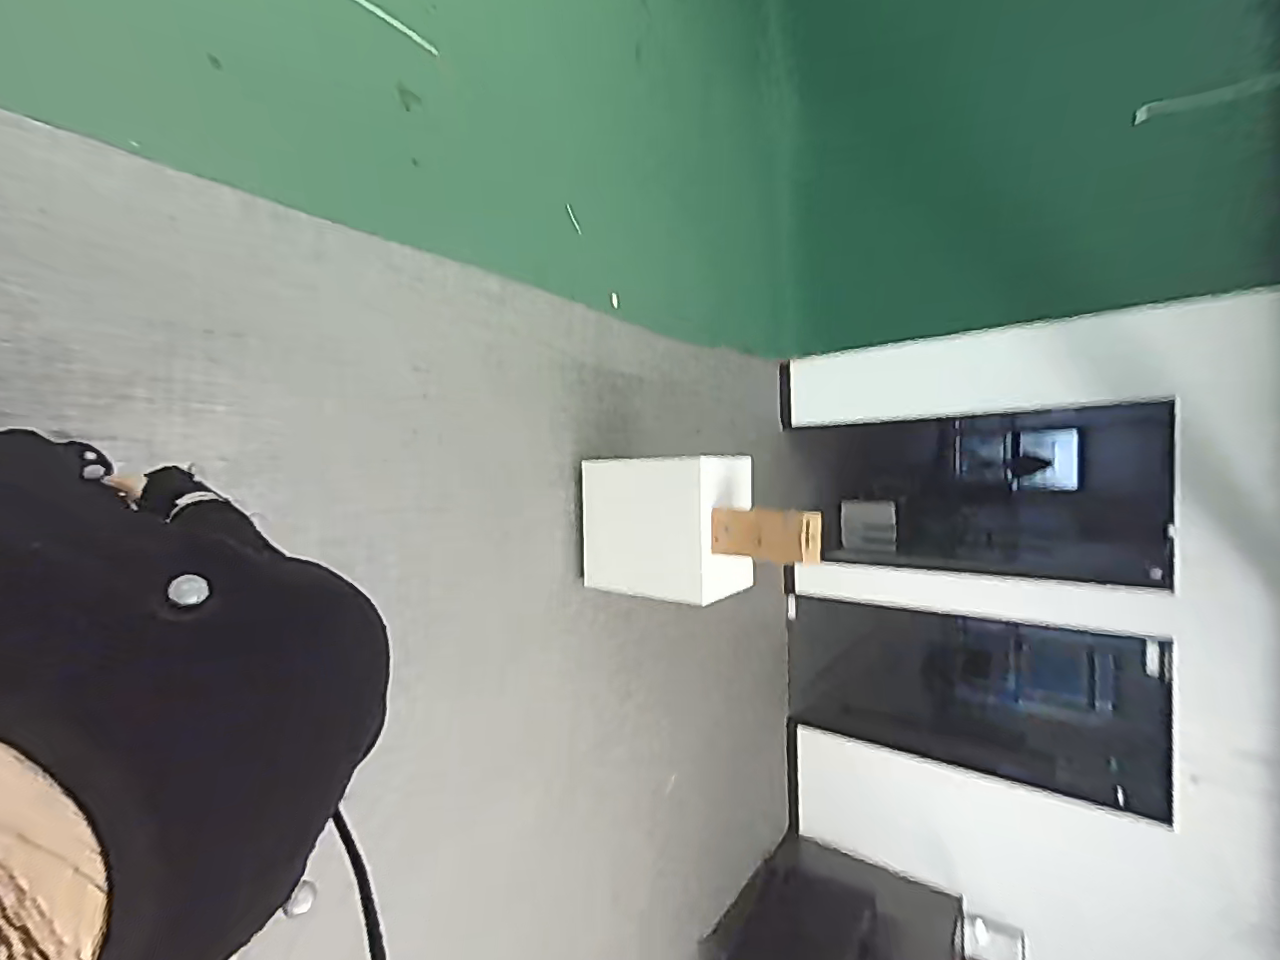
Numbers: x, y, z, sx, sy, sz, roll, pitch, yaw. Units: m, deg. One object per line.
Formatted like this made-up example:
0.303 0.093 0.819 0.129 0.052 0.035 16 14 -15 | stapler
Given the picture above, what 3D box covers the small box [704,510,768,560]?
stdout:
0.342 0.191 1.915 0.179 0.176 0.168 3 87 -55 | small box
